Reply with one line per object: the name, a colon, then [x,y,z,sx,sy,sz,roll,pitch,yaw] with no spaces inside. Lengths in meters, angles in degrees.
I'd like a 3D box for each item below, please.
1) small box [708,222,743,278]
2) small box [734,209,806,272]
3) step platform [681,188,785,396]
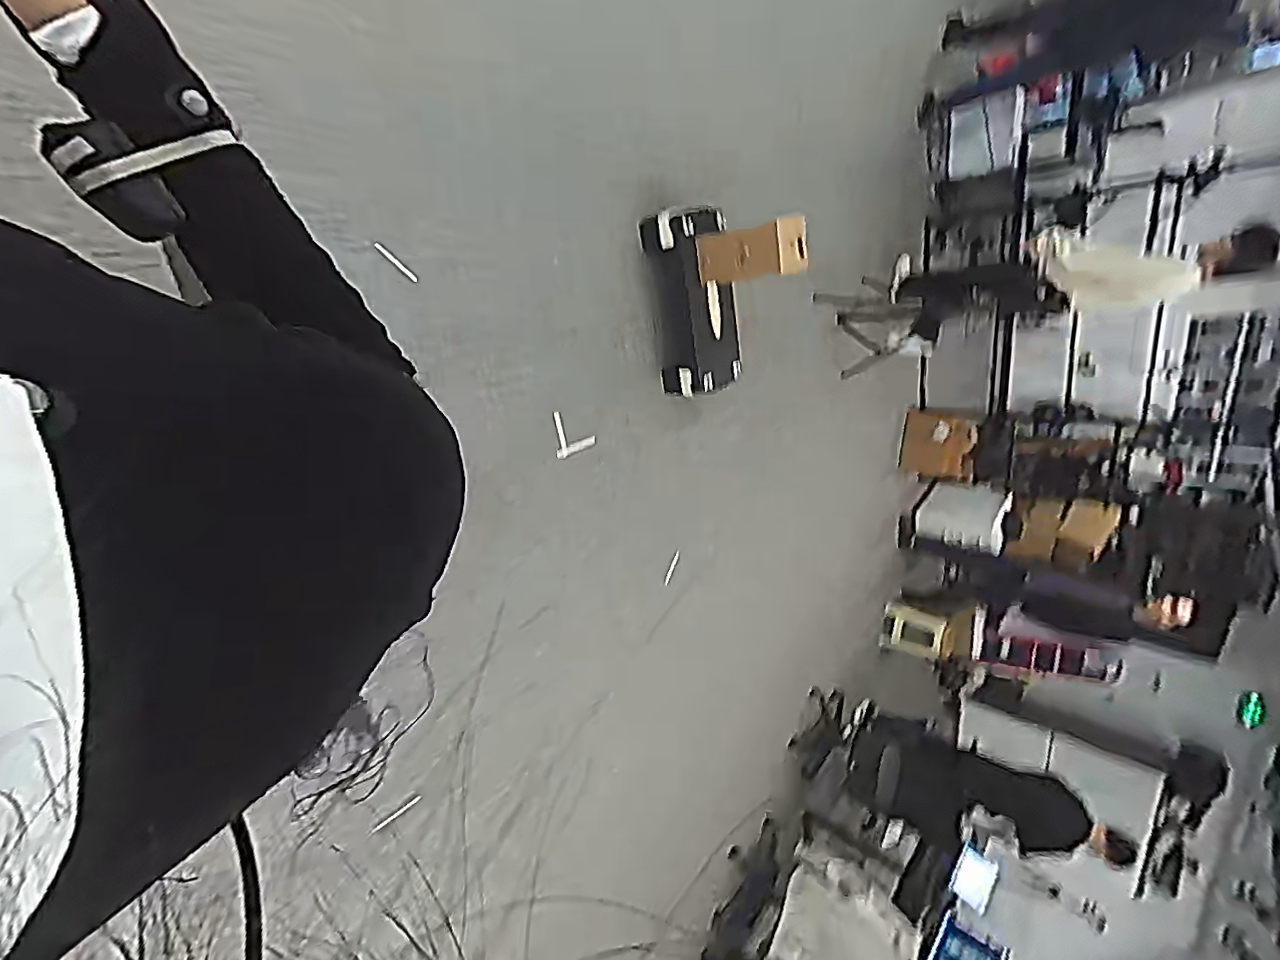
small box: [0.322,-0.831,1.946,0.179,0.176,0.168,-29,118,-38]
small box: [0.441,-0.810,1.835,0.179,0.176,0.168,-30,119,-37]
step platform: [0.342,-0.657,1.952,0.286,0.204,0.684,-29,118,-39]
